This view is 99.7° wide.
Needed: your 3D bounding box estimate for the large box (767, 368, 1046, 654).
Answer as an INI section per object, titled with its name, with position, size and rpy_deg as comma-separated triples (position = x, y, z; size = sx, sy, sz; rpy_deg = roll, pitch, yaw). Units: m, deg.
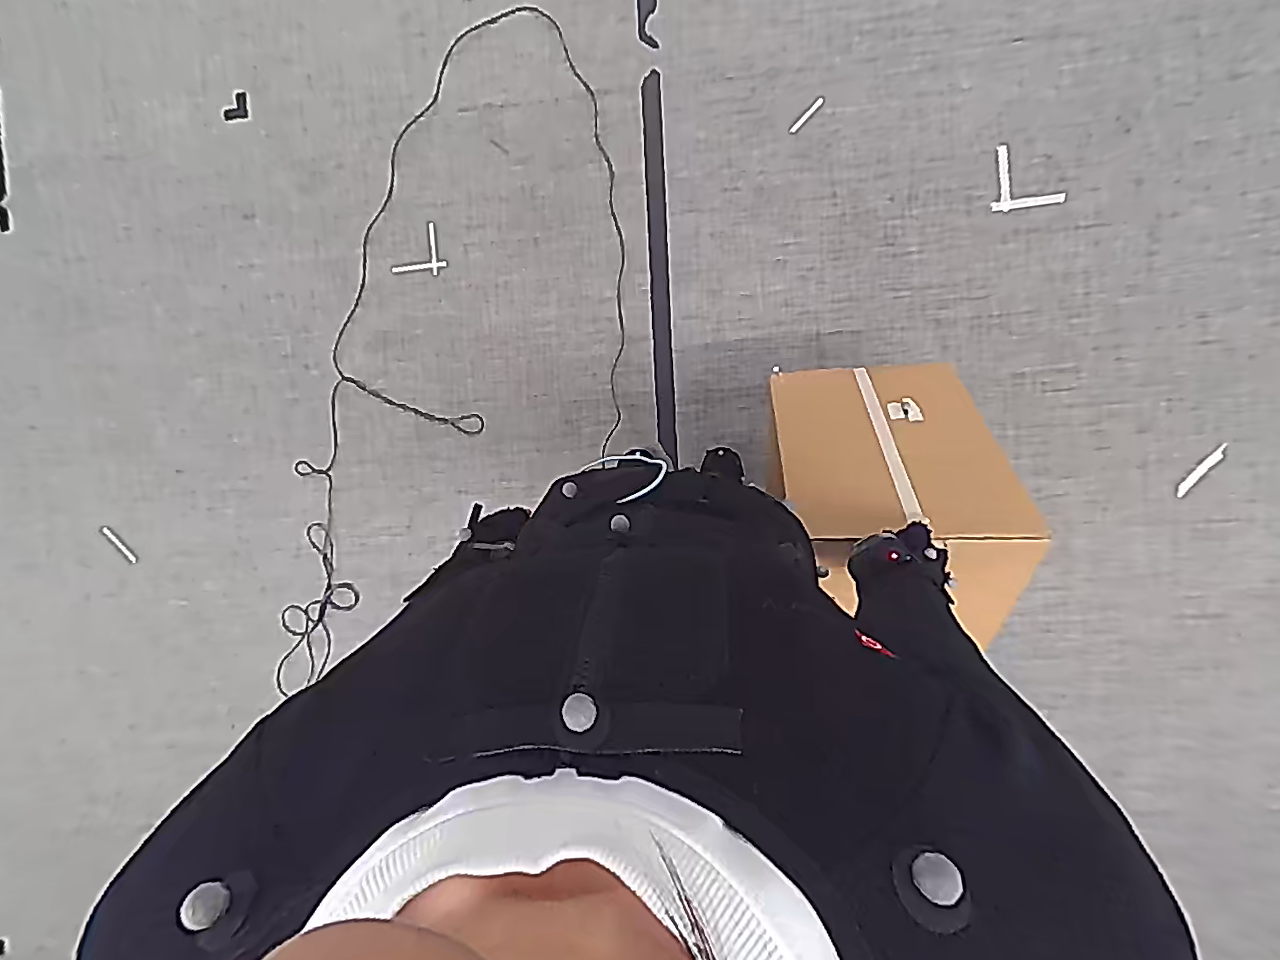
[large box]
position = 0.399, 0.049, 0.945
size = 0.320, 0.408, 0.320
rpy_deg = -1, 132, 8
